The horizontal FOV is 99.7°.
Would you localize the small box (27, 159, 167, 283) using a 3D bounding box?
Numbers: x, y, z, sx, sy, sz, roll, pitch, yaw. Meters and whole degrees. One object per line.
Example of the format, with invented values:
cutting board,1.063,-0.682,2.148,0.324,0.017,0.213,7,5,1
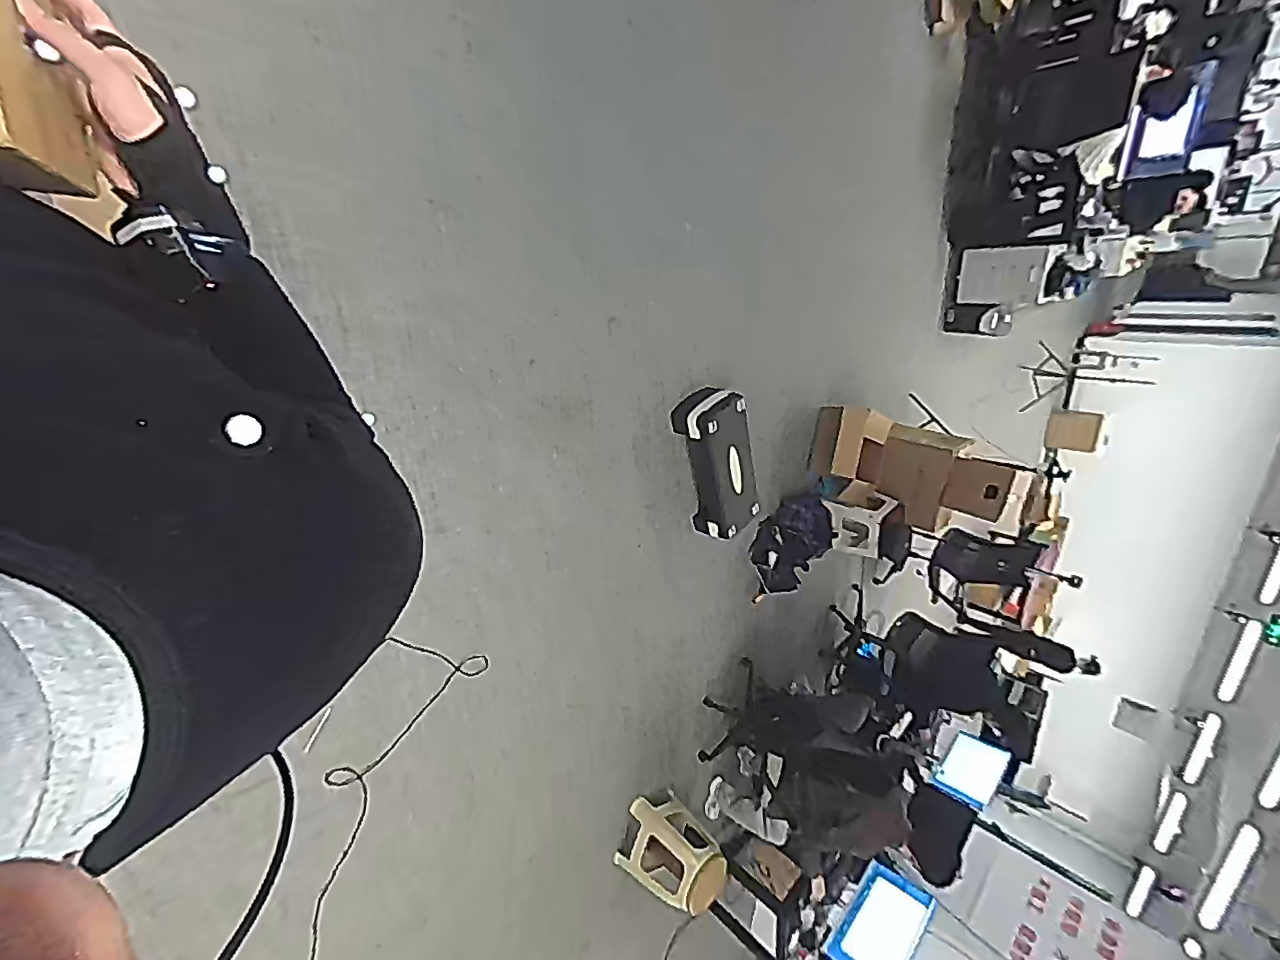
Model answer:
small box,-1.022,-0.475,1.022,0.168,0.176,0.179,-9,111,-44
